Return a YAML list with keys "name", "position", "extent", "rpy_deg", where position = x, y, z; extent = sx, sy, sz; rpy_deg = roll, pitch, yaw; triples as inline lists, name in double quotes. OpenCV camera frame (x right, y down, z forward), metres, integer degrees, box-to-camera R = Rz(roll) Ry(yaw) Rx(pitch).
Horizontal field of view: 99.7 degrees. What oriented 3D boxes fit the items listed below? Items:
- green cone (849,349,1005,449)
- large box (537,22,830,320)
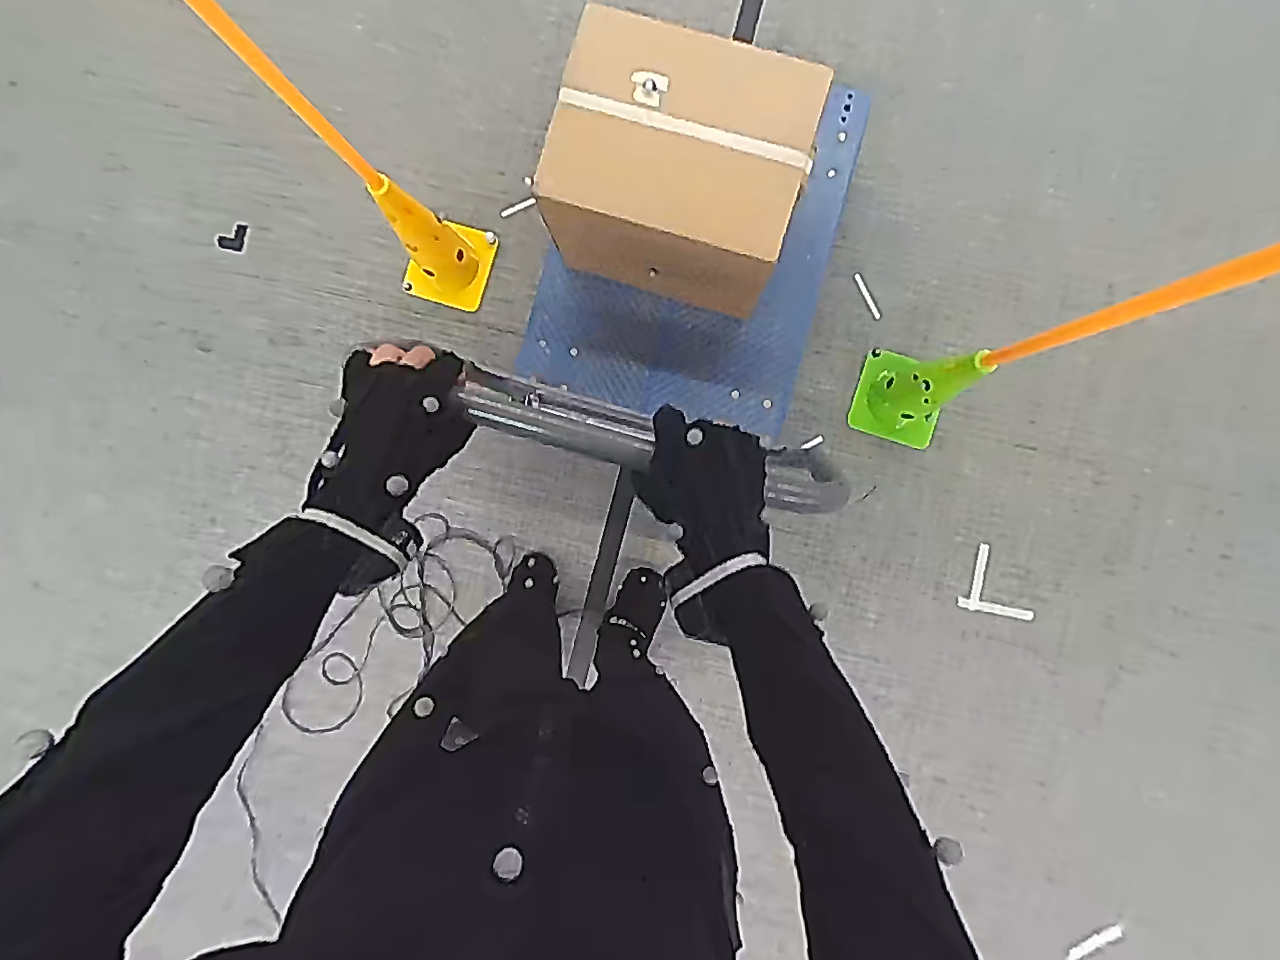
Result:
- name: "green cone"
  position: [0.610, -0.194, 1.111]
  extent: [0.202, 0.368, 0.200]
  rpy_deg: [18, 90, 2]
- name: "large box"
  position: [0.076, -0.532, 1.001]
  extent: [0.408, 0.320, 0.320]
  rpy_deg: [18, 91, 4]
